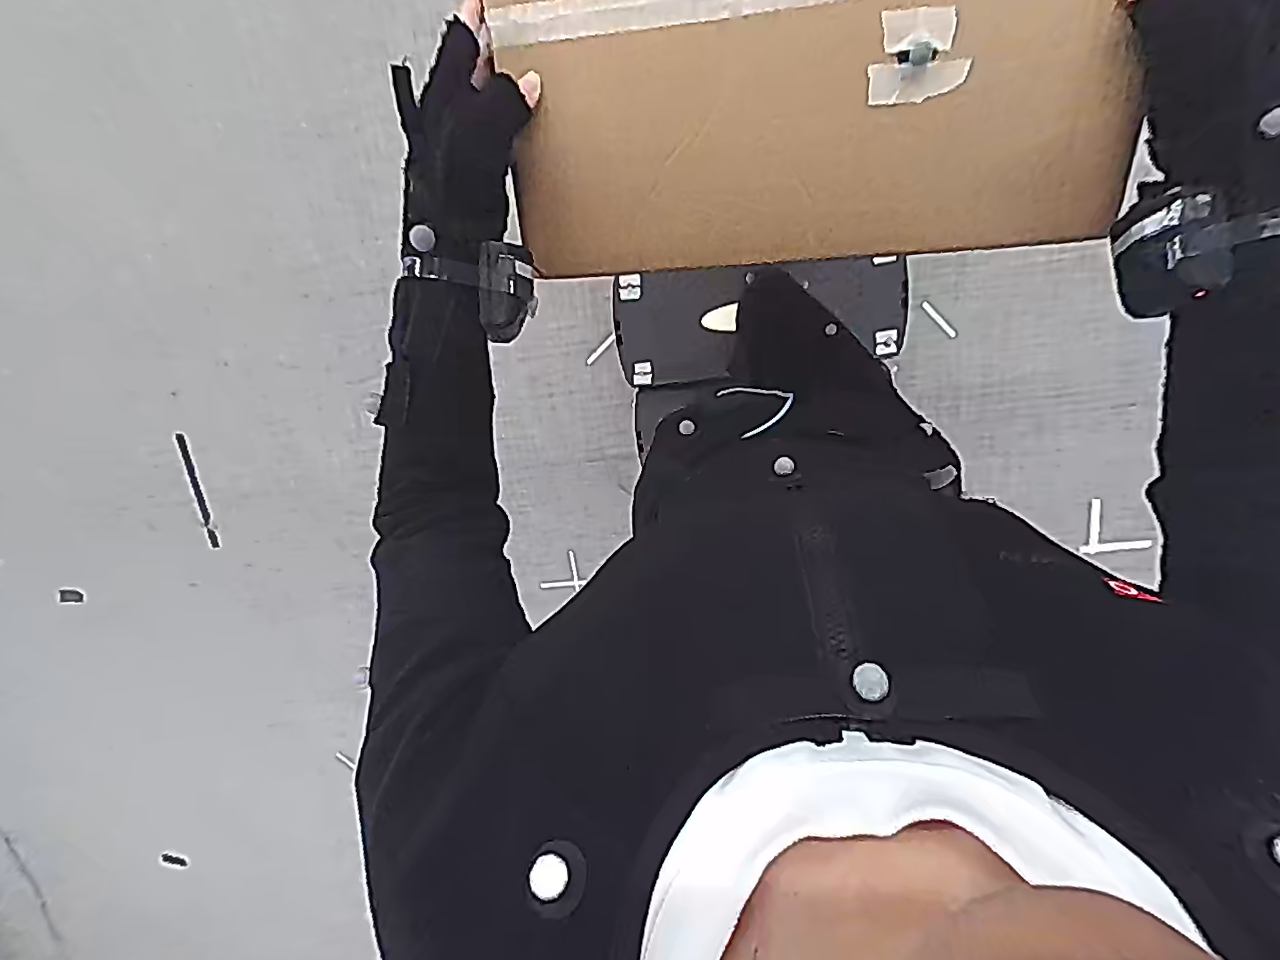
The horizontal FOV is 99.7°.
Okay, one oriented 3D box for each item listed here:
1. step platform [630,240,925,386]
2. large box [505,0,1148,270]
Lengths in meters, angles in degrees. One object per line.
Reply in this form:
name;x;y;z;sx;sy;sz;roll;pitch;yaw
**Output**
step platform;0.317;-0.414;1.327;0.684;0.204;0.286;-6;106;9
large box;0.122;-0.372;0.474;0.408;0.320;0.320;-1;114;8
